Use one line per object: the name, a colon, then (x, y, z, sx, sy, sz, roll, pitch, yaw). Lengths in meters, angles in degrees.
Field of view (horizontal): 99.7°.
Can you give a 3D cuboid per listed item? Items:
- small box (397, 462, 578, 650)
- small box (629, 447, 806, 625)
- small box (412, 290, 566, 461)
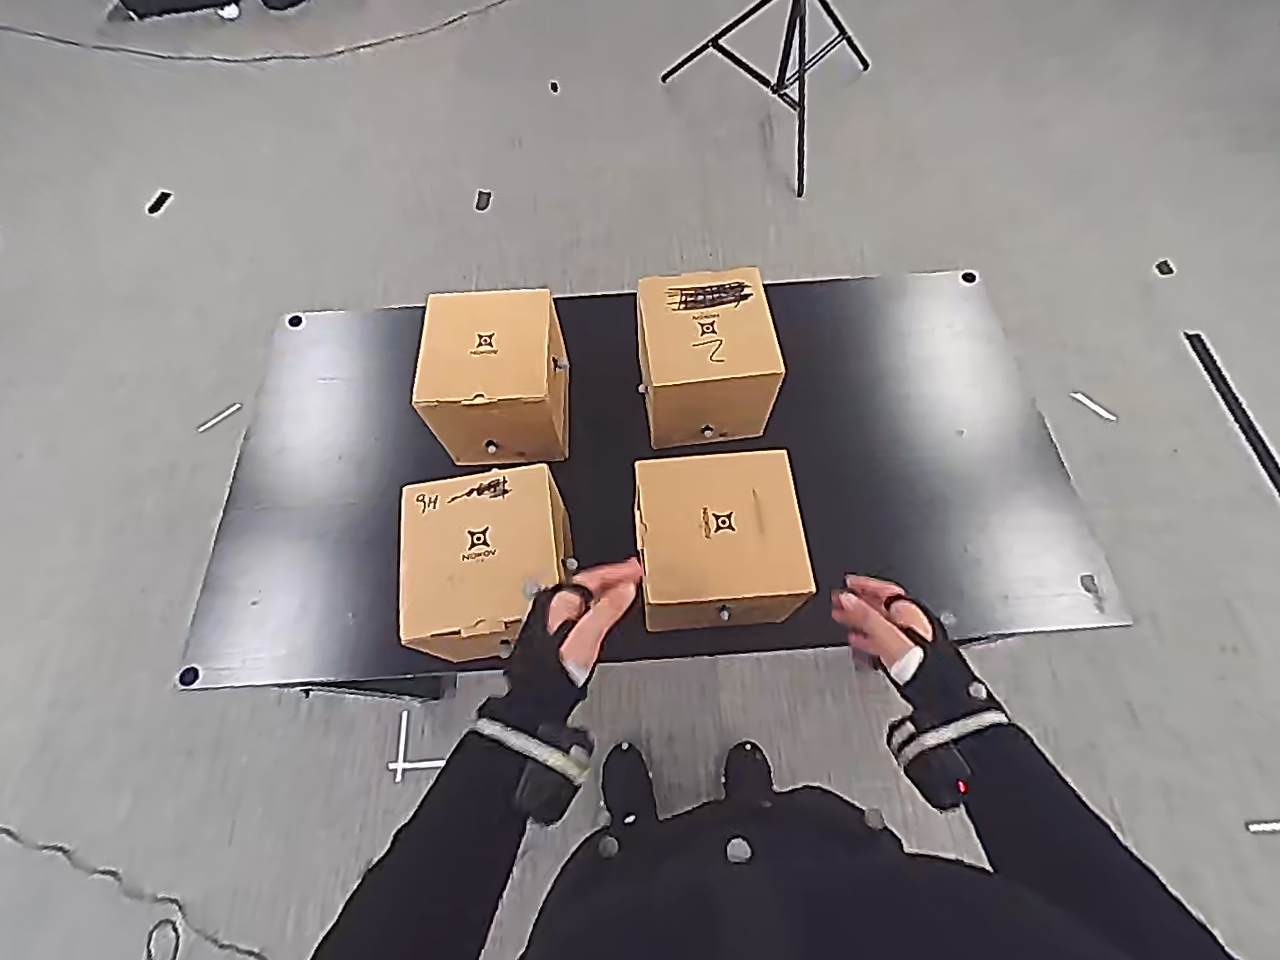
small box: (-0.173, 0.102, 0.652, 0.168, 0.176, 0.179, -10, 66, -2)
small box: (0.082, 0.076, 0.657, 0.179, 0.176, 0.168, -4, 66, -1)
small box: (-0.200, -0.142, 0.767, 0.168, 0.176, 0.179, -3, 66, 0)
